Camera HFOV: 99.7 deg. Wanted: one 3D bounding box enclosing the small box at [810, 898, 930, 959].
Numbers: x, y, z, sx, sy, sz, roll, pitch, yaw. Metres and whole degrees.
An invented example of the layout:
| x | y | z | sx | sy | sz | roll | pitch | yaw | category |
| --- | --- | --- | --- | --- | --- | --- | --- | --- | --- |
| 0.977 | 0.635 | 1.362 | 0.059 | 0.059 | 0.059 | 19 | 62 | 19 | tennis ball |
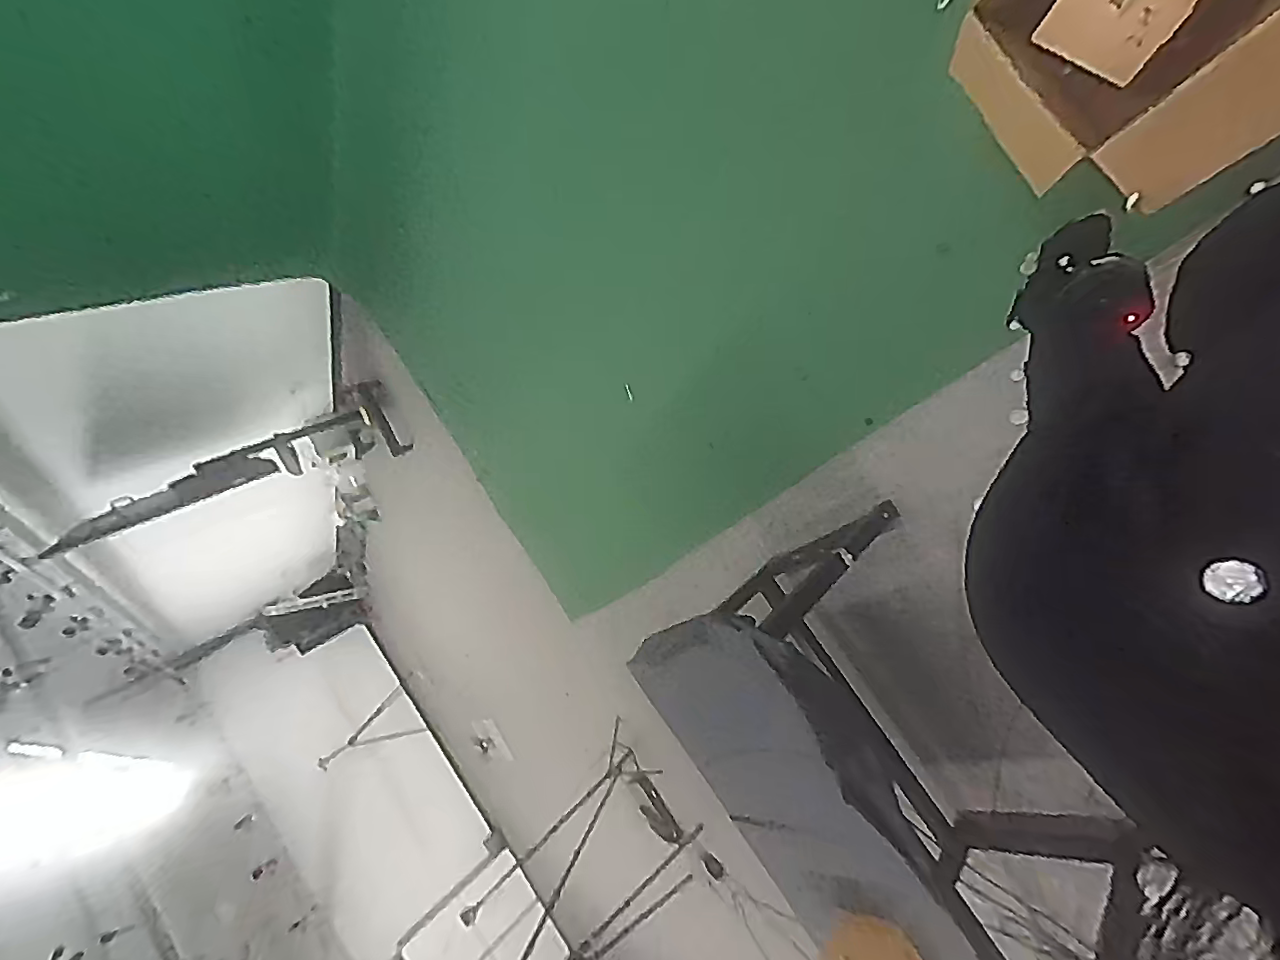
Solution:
| x | y | z | sx | sy | sz | roll | pitch | yaw | category |
| --- | --- | --- | --- | --- | --- | --- | --- | --- | --- |
| 0.545 | 1.128 | 1.264 | 0.168 | 0.176 | 0.179 | 54 | 142 | 9 | small box |
